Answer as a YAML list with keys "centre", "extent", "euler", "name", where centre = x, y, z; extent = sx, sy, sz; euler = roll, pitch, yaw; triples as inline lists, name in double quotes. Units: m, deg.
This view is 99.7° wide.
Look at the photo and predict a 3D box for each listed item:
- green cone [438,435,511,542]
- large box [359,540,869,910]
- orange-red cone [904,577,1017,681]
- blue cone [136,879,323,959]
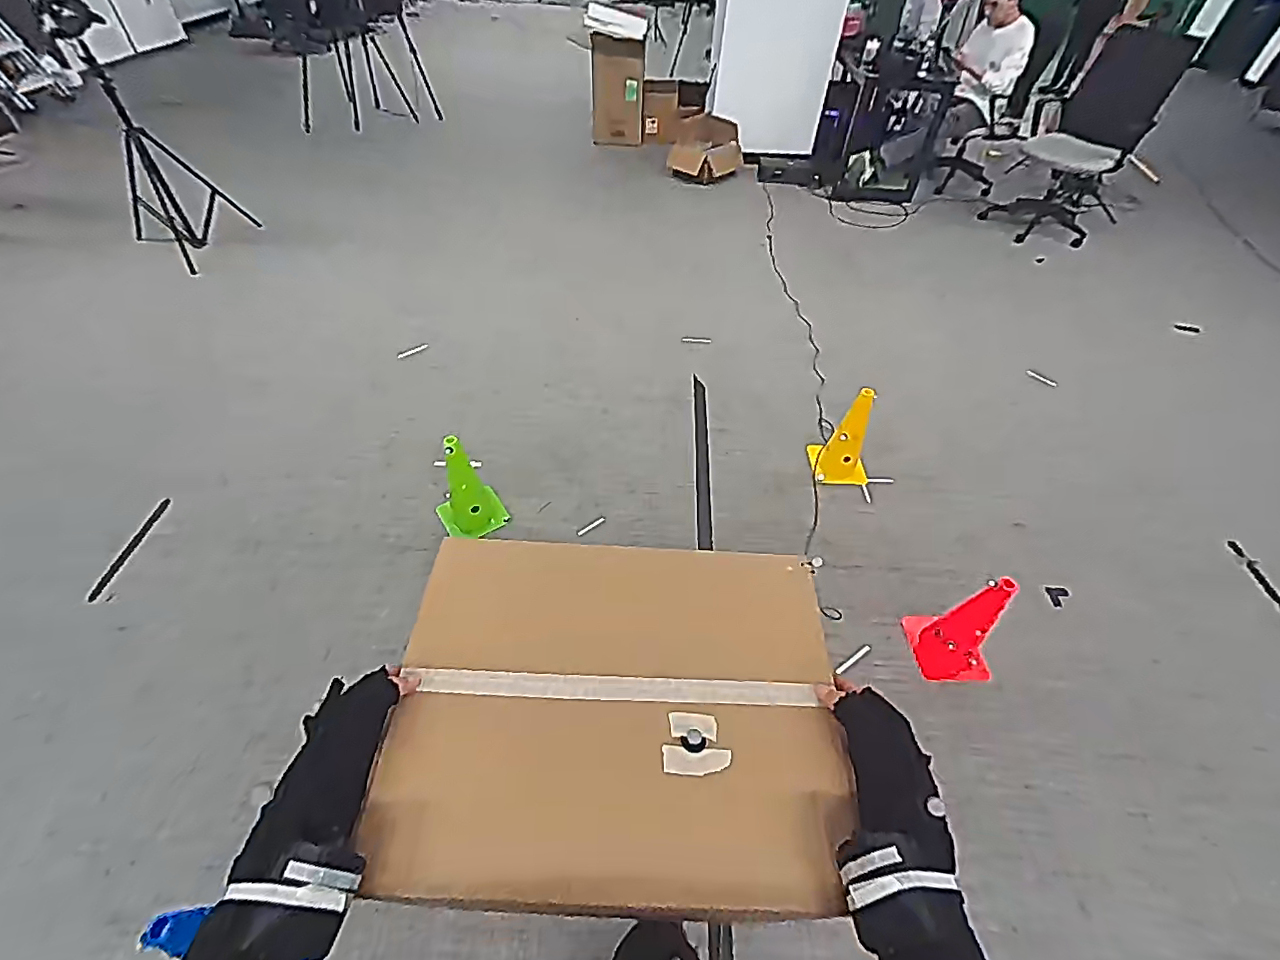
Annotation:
- centre: [-0.566, -0.005, 1.726]
  extent: [0.202, 0.368, 0.200]
  euler: [-28, 54, -23]
  name: "green cone"
- centre: [-0.025, 0.289, 0.622]
  extent: [0.408, 0.320, 0.320]
  euler: [4, 50, -2]
  name: "large box"
- centre: [0.900, 0.371, 1.457]
  extent: [0.198, 0.360, 0.199]
  euler: [2, 46, -2]
  name: "orange-red cone"
- centre: [-0.764, 0.827, 0.985]
  extent: [0.192, 0.380, 0.193]
  euler: [5, 48, 3]
  name: "blue cone"
